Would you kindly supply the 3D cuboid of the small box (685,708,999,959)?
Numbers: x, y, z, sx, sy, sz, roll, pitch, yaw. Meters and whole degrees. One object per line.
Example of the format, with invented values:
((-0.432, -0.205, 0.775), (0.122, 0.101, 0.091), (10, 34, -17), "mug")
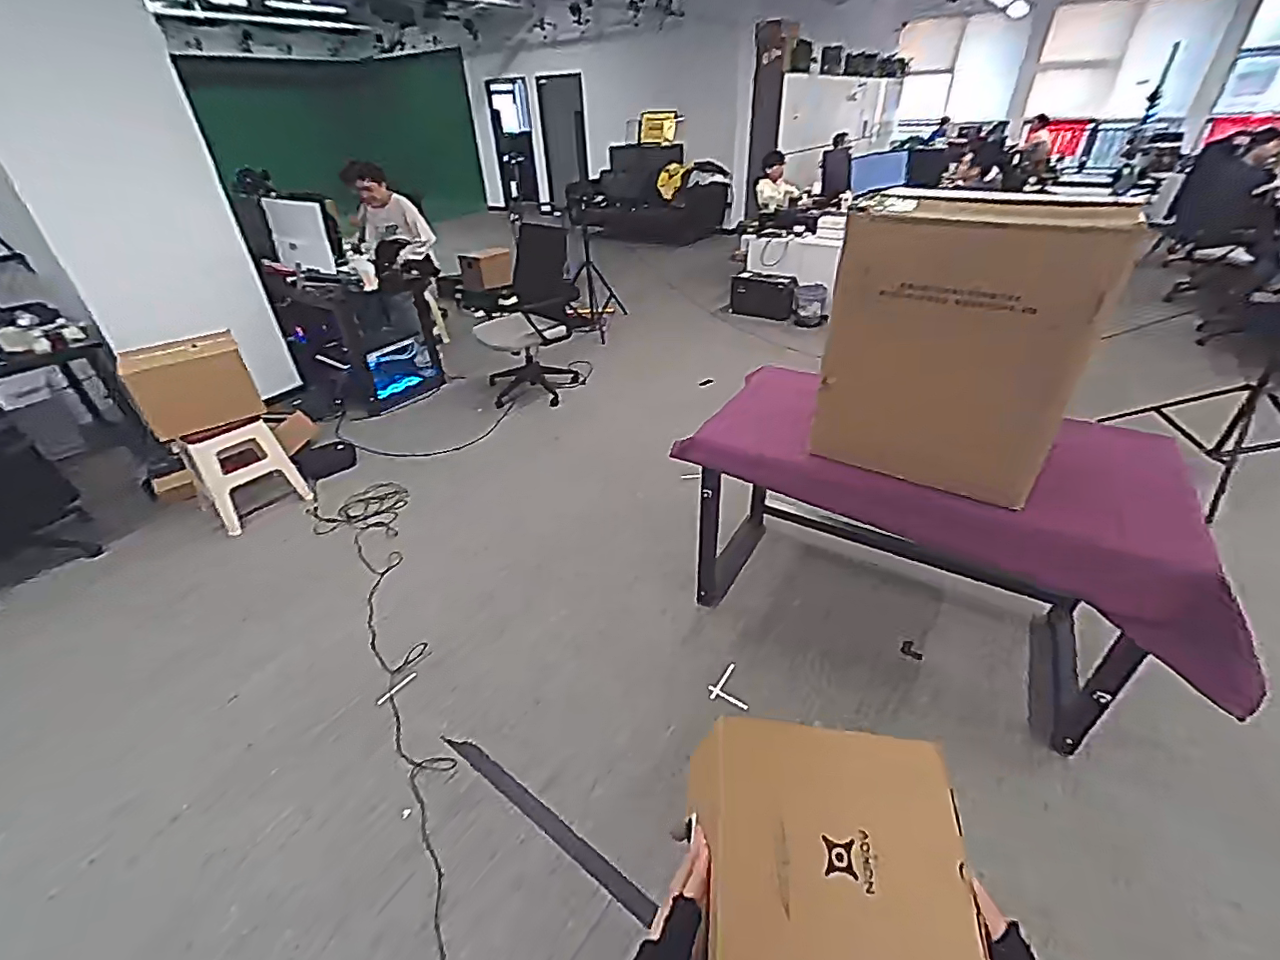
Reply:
((0.136, 0.296, 0.429), (0.179, 0.176, 0.168), (6, 52, 0), "small box")
